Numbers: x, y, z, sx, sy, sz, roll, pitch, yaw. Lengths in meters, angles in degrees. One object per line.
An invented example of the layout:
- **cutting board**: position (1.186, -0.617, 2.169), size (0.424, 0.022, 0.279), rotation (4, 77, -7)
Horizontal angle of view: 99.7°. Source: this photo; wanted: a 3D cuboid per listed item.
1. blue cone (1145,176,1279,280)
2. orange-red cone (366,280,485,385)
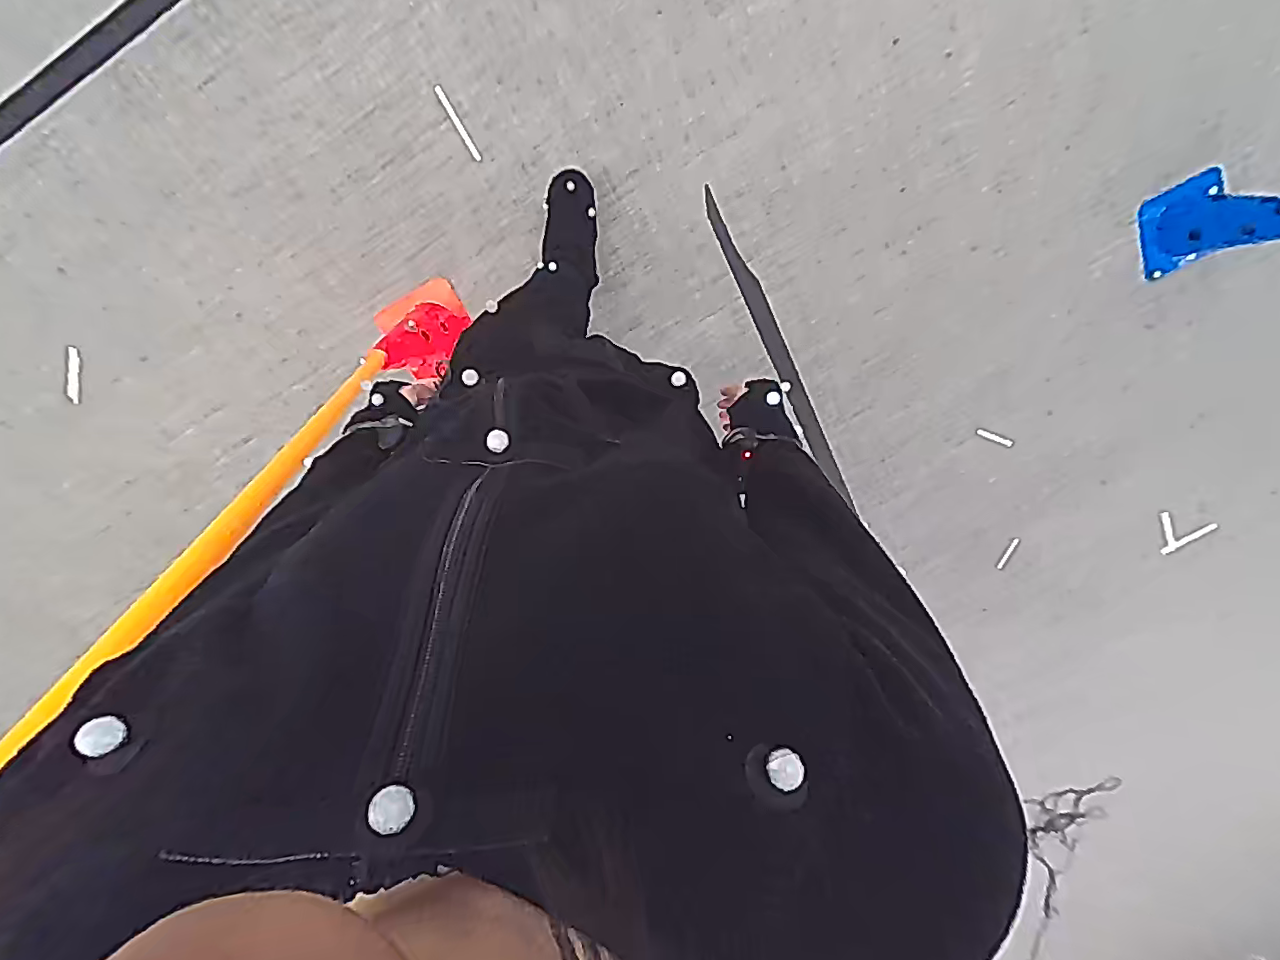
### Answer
- **blue cone**: position (1.345, -0.554, 1.171), size (0.193, 0.380, 0.192), rotation (-25, 112, 6)
- **orange-red cone**: position (-0.480, -0.281, 1.117), size (0.198, 0.360, 0.199), rotation (-25, 111, 6)
